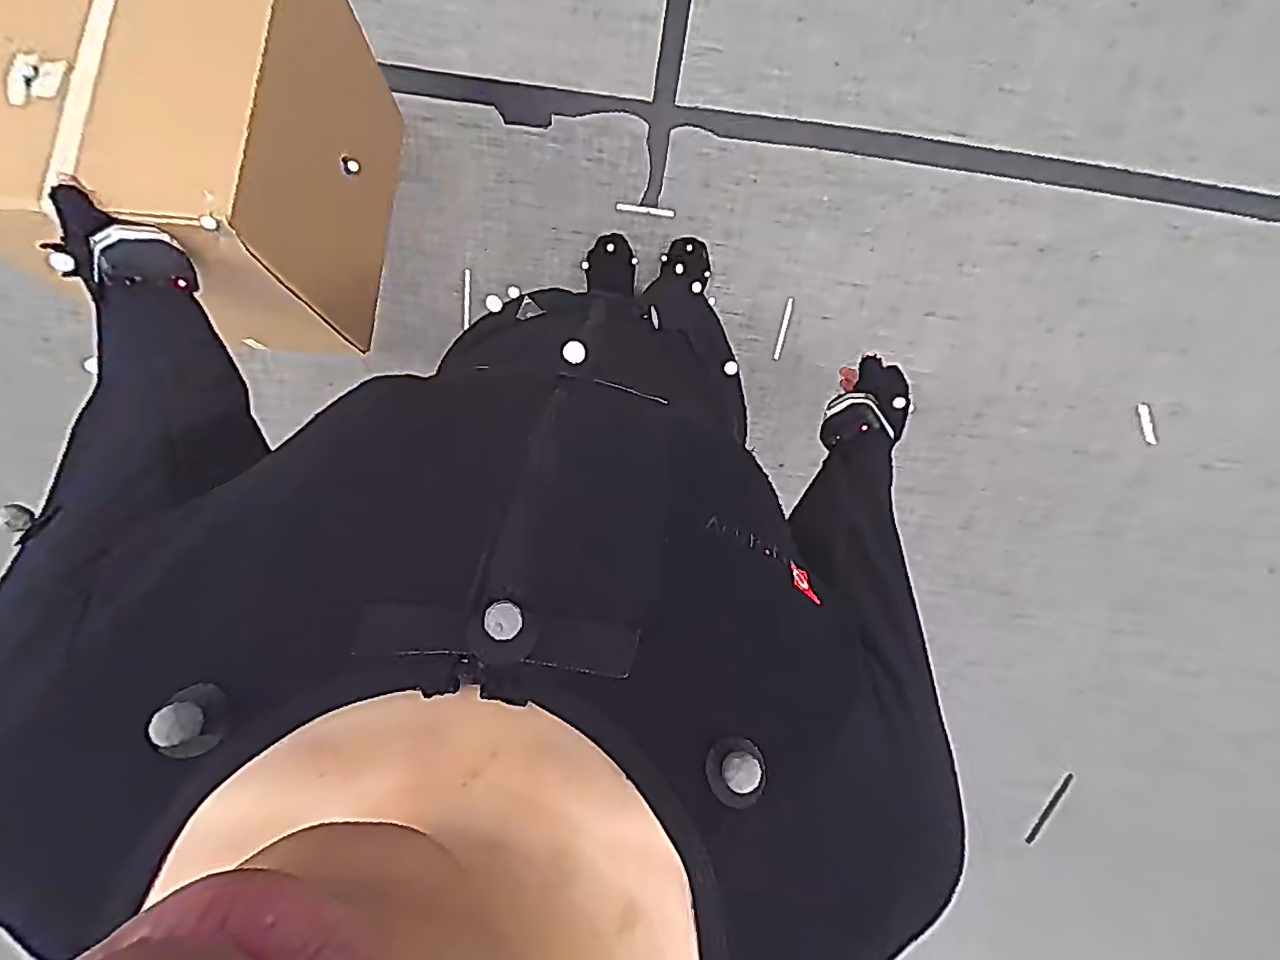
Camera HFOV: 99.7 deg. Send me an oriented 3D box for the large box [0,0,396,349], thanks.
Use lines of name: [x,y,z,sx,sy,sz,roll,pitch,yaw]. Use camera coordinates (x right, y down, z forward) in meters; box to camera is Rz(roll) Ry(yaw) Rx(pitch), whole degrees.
large box: [-0.547,-0.427,0.708,0.320,0.320,0.408,3,81,-1]
